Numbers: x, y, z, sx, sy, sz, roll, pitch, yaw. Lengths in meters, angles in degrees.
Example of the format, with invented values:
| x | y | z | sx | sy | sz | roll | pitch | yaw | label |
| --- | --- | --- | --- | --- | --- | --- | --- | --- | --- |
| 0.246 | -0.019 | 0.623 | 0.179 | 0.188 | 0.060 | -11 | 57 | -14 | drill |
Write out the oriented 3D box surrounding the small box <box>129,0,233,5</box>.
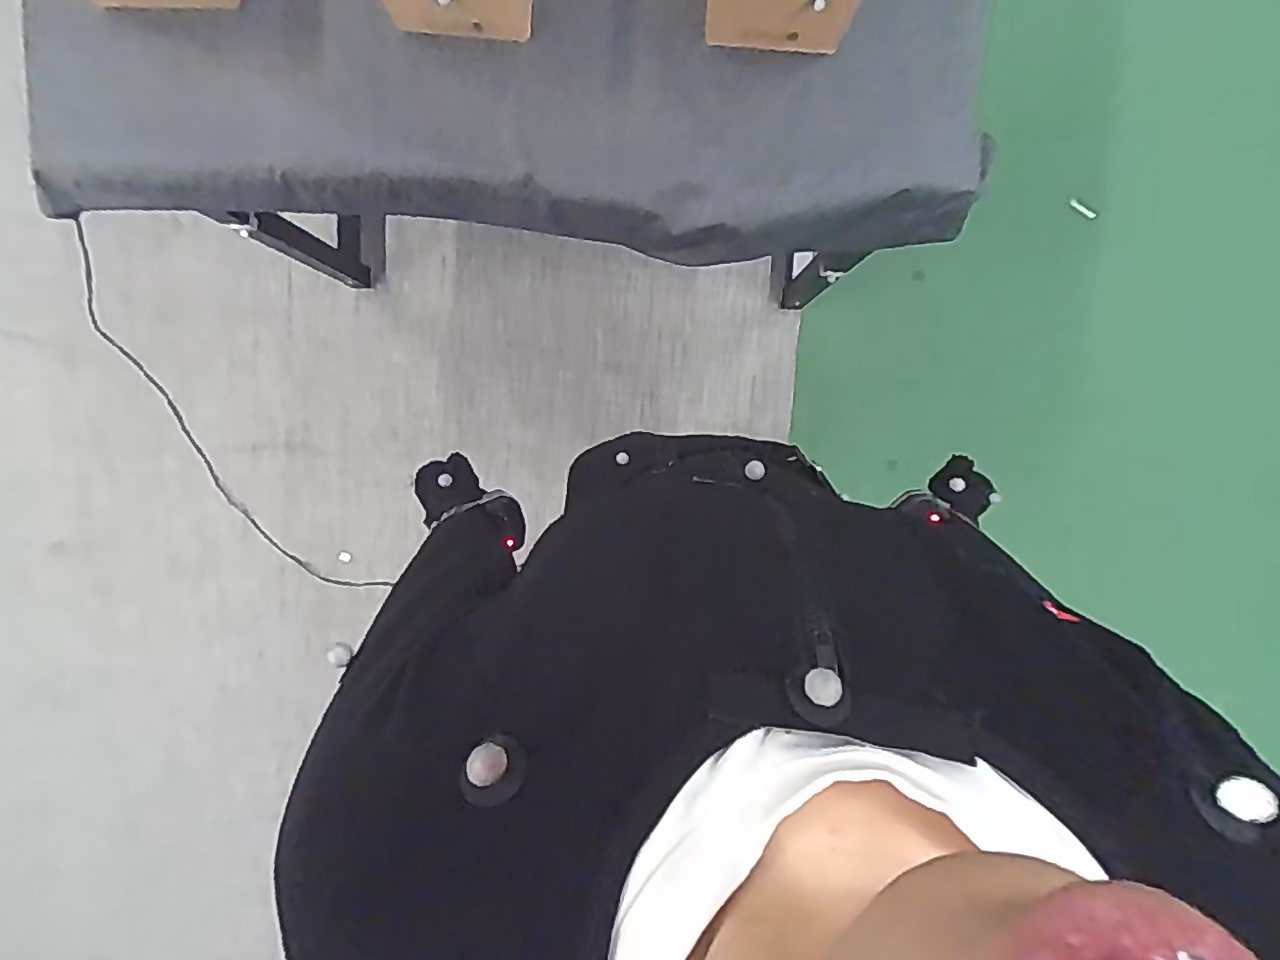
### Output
| x | y | z | sx | sy | sz | roll | pitch | yaw | label |
| --- | --- | --- | --- | --- | --- | --- | --- | --- | --- |
| -0.578 | -0.668 | 0.590 | 0.179 | 0.176 | 0.168 | 0 | 96 | -1 | small box |

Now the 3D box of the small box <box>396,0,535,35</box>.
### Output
| x | y | z | sx | sy | sz | roll | pitch | yaw | label |
| --- | --- | --- | --- | --- | --- | --- | --- | --- | --- |
| -0.209 | -0.638 | 0.593 | 0.168 | 0.176 | 0.179 | 5 | 96 | 0 | small box |

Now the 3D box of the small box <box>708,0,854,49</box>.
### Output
| x | y | z | sx | sy | sz | roll | pitch | yaw | label |
| --- | --- | --- | --- | --- | --- | --- | --- | --- | --- |
| 0.170 | -0.623 | 0.594 | 0.168 | 0.176 | 0.179 | 4 | 94 | -1 | small box |
